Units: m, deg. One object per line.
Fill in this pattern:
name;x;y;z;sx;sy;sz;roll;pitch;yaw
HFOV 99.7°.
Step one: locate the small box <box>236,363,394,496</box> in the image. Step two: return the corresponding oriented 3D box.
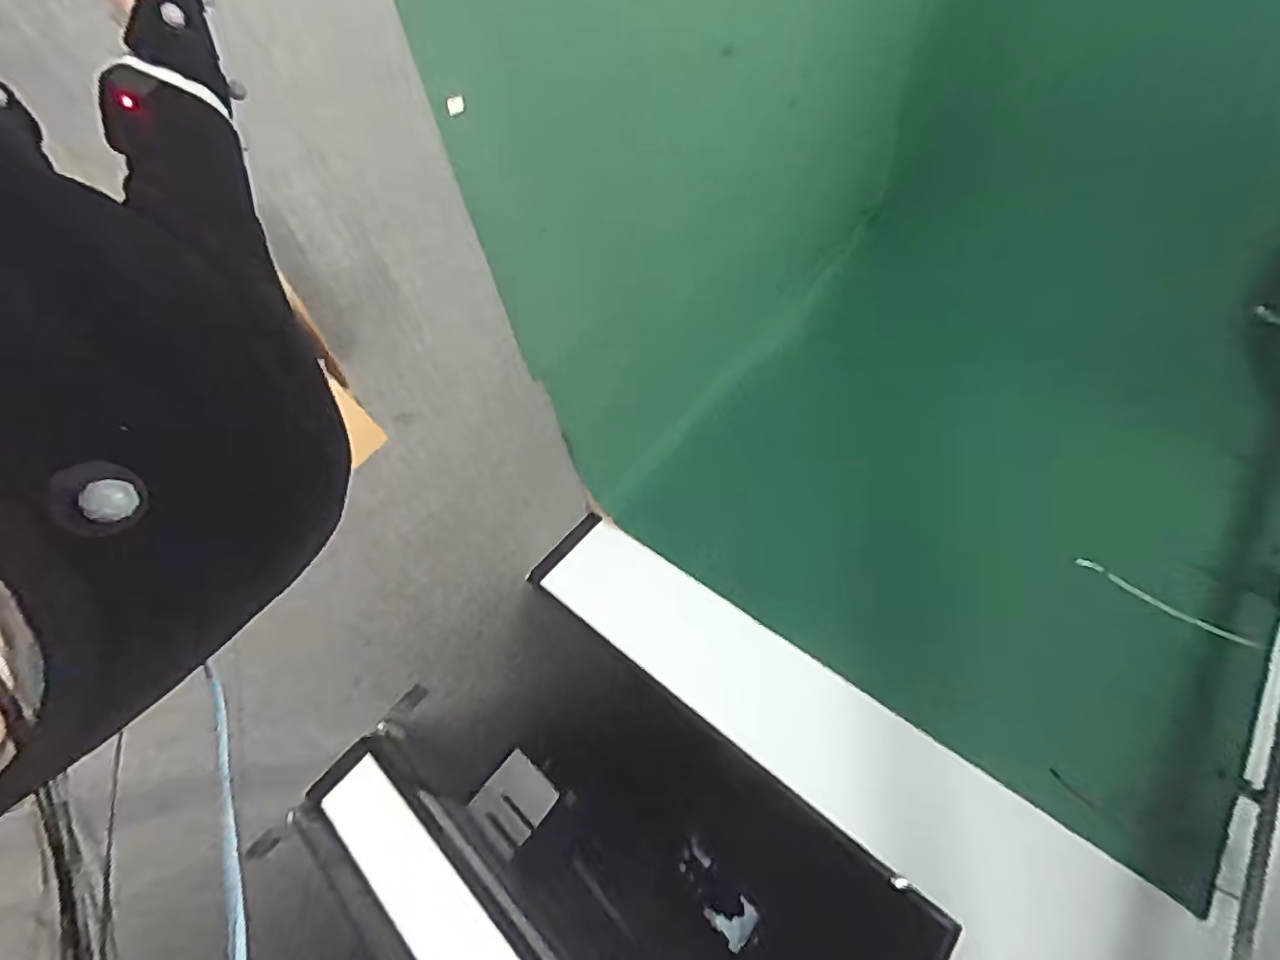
small box;-0.629;-0.106;1.051;0.168;0.176;0.179;-47;147;-18
